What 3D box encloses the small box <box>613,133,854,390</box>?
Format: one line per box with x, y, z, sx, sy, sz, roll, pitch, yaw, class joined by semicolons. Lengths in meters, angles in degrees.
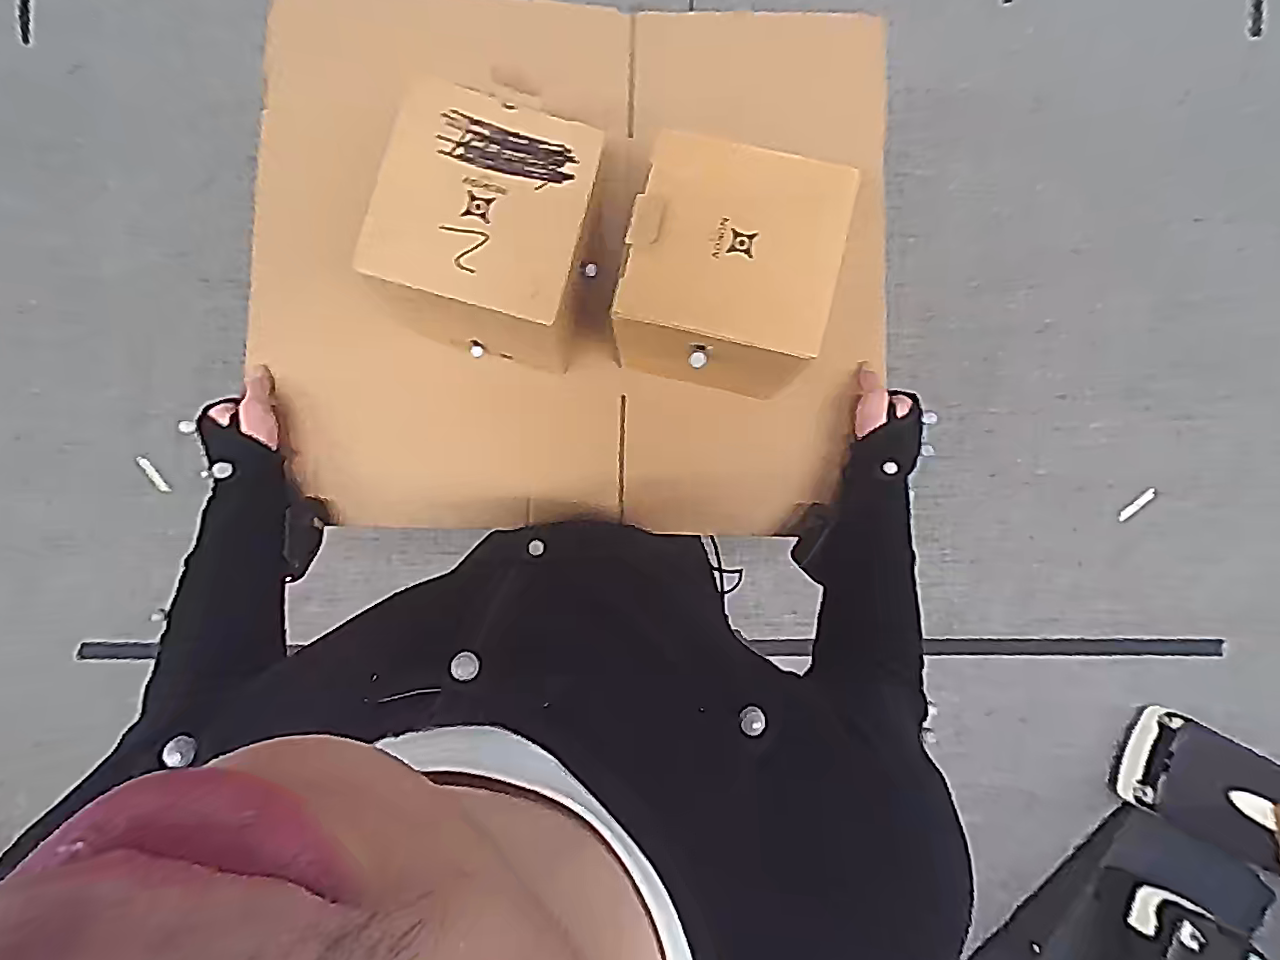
0.082;-0.197;0.539;0.179;0.176;0.168;13;88;3;small box
